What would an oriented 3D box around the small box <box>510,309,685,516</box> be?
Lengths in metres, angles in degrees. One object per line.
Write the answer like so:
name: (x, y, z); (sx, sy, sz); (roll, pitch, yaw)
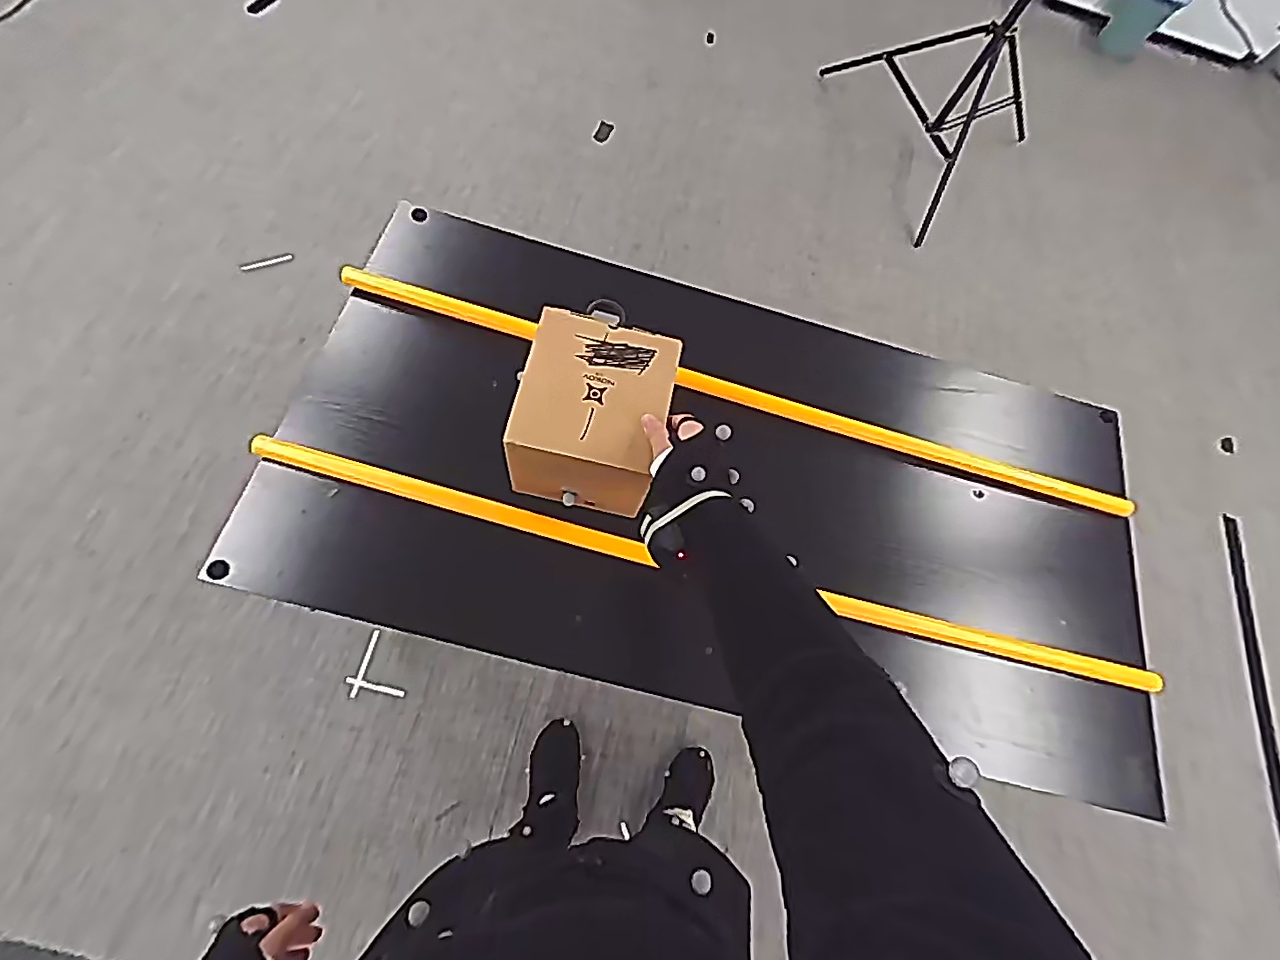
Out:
small box: (-0.054, -0.074, 0.671); (0.168, 0.176, 0.179); (13, 69, -4)
